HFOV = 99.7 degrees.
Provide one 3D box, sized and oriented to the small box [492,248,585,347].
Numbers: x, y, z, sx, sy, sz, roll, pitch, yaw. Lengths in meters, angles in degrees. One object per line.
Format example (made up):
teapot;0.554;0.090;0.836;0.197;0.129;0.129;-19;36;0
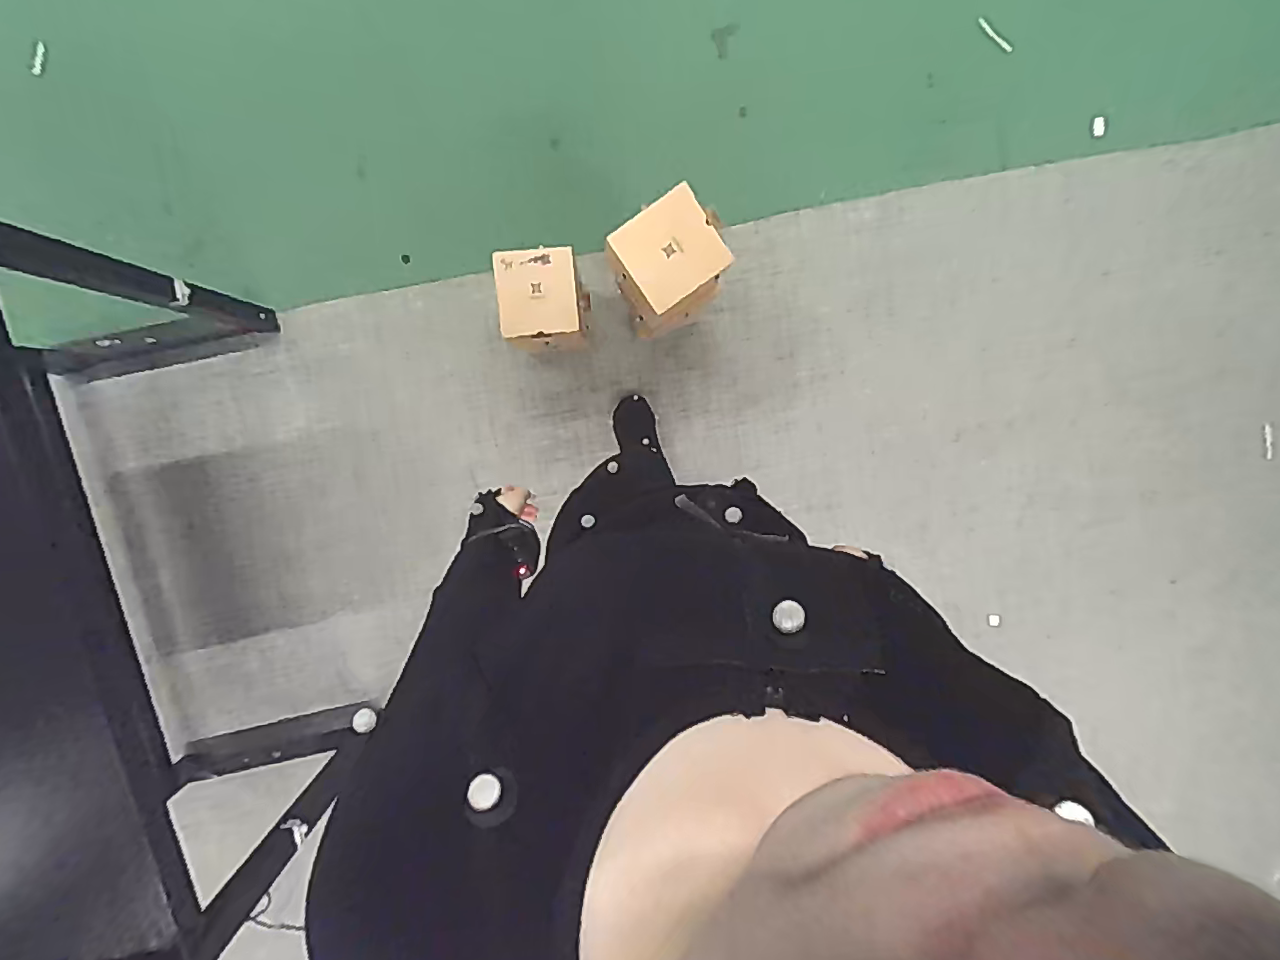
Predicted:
small box;-0.214;-0.389;1.183;0.168;0.176;0.179;-5;97;-1

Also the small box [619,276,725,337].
small box;0.061;-0.434;1.192;0.179;0.176;0.168;-31;99;0

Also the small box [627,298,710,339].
small box;0.059;-0.464;1.352;0.179;0.176;0.168;-19;97;-1

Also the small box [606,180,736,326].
small box;0.052;-0.416;1.030;0.179;0.176;0.168;-36;98;1
